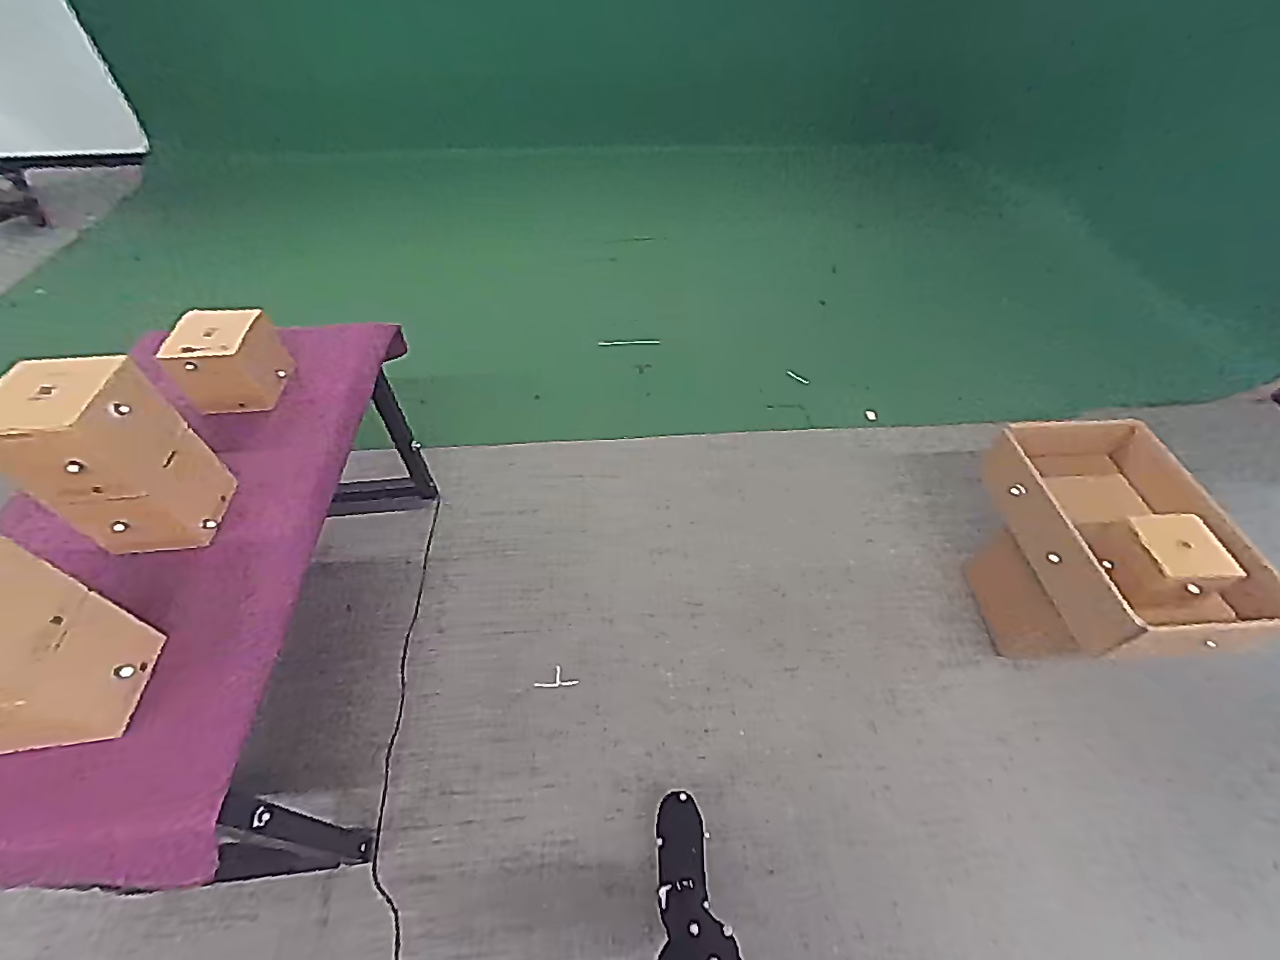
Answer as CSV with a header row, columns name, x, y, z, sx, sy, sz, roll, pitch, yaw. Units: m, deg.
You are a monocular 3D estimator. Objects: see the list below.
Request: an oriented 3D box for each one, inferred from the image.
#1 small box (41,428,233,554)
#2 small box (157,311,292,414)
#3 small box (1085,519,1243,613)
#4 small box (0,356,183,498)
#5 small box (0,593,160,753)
name,x,y,z,sx,sy,sz,roll,pitch,yaw
small box,-0.920,0.023,1.016,0.179,0.176,0.168,-5,50,-4
small box,-0.955,-0.275,1.266,0.168,0.176,0.179,-4,50,-3
small box,1.236,0.209,1.293,0.179,0.176,0.168,-1,51,-1
small box,-0.915,-0.081,0.891,0.168,0.176,0.179,-4,49,-5
small box,-0.880,0.286,0.793,0.179,0.176,0.168,-5,50,-5
